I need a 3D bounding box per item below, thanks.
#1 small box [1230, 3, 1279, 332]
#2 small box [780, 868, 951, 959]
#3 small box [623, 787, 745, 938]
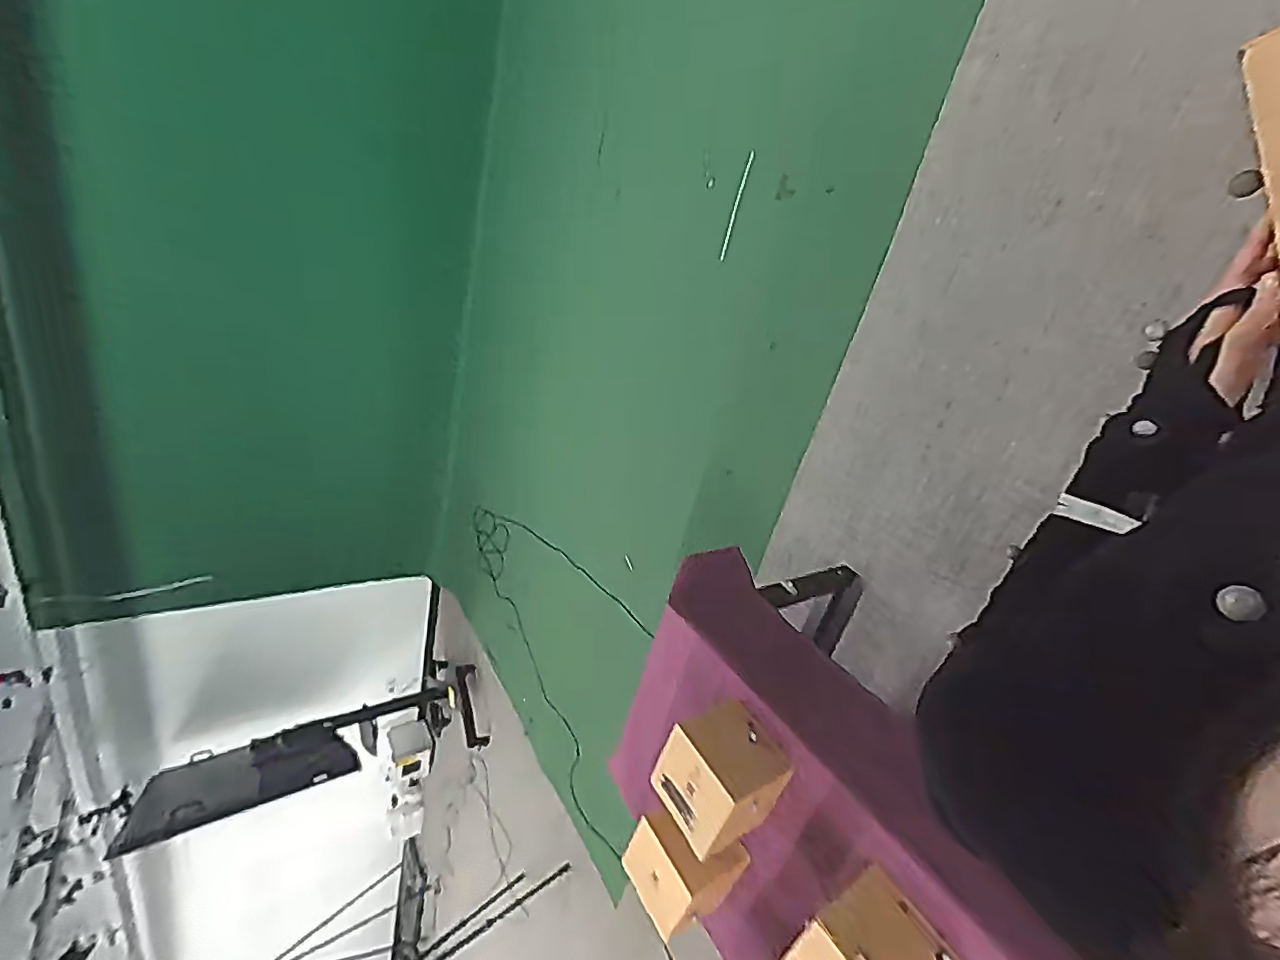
[{"bbox_3d":[0.447,-0.197,0.287,0.168,0.176,0.179,-11,104,51],"label":"small box"},{"bbox_3d":[0.337,0.732,0.805,0.168,0.176,0.179,43,126,43],"label":"small box"},{"bbox_3d":[0.094,0.789,1.133,0.168,0.176,0.179,44,126,42],"label":"small box"}]
